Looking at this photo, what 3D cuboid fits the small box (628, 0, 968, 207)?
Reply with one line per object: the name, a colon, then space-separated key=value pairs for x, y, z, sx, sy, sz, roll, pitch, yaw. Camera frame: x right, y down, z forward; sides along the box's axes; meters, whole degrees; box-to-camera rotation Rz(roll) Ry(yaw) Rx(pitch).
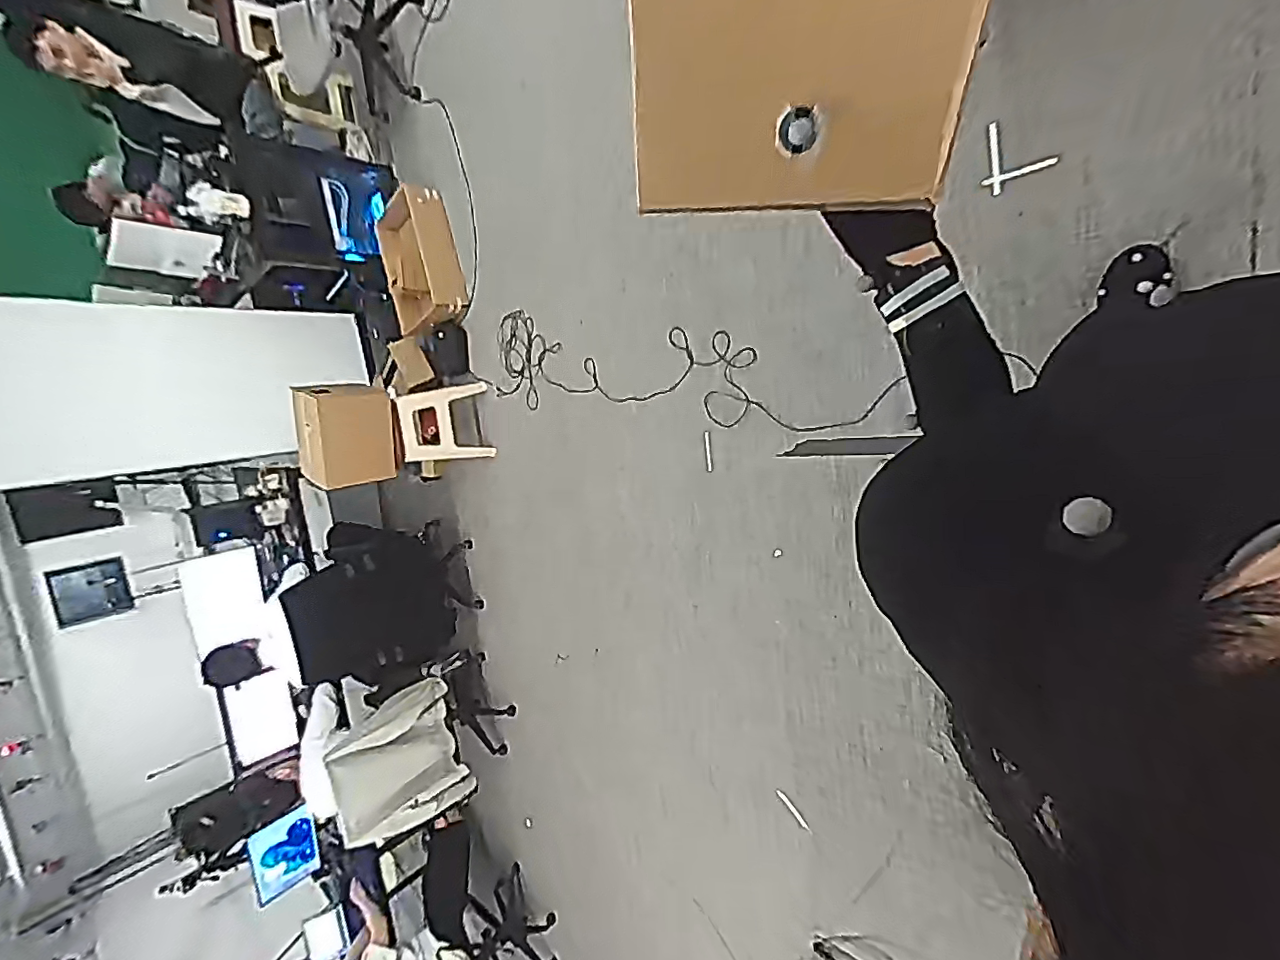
small box: x=0.090 y=-0.280 z=0.335 sx=0.179 sy=0.168 sz=0.176 roll=4 pitch=127 yaw=10
